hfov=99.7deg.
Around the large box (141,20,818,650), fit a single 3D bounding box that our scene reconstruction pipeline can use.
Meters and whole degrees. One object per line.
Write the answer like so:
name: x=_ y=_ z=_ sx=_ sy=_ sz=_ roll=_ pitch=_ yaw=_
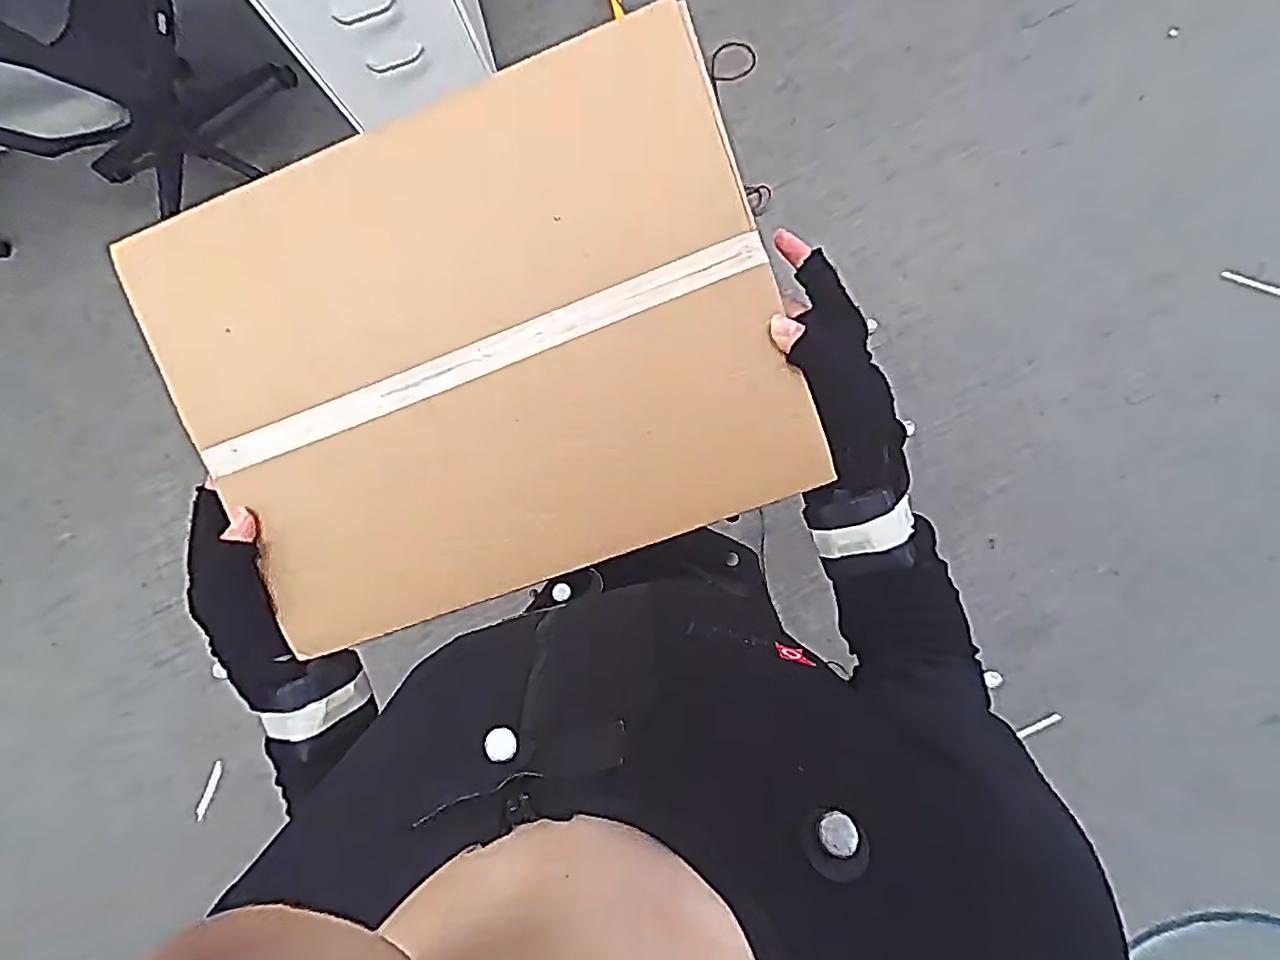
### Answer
large box: x=-0.103 y=-0.101 z=0.519 sx=0.408 sy=0.320 sz=0.320 roll=-20 pitch=96 yaw=6
